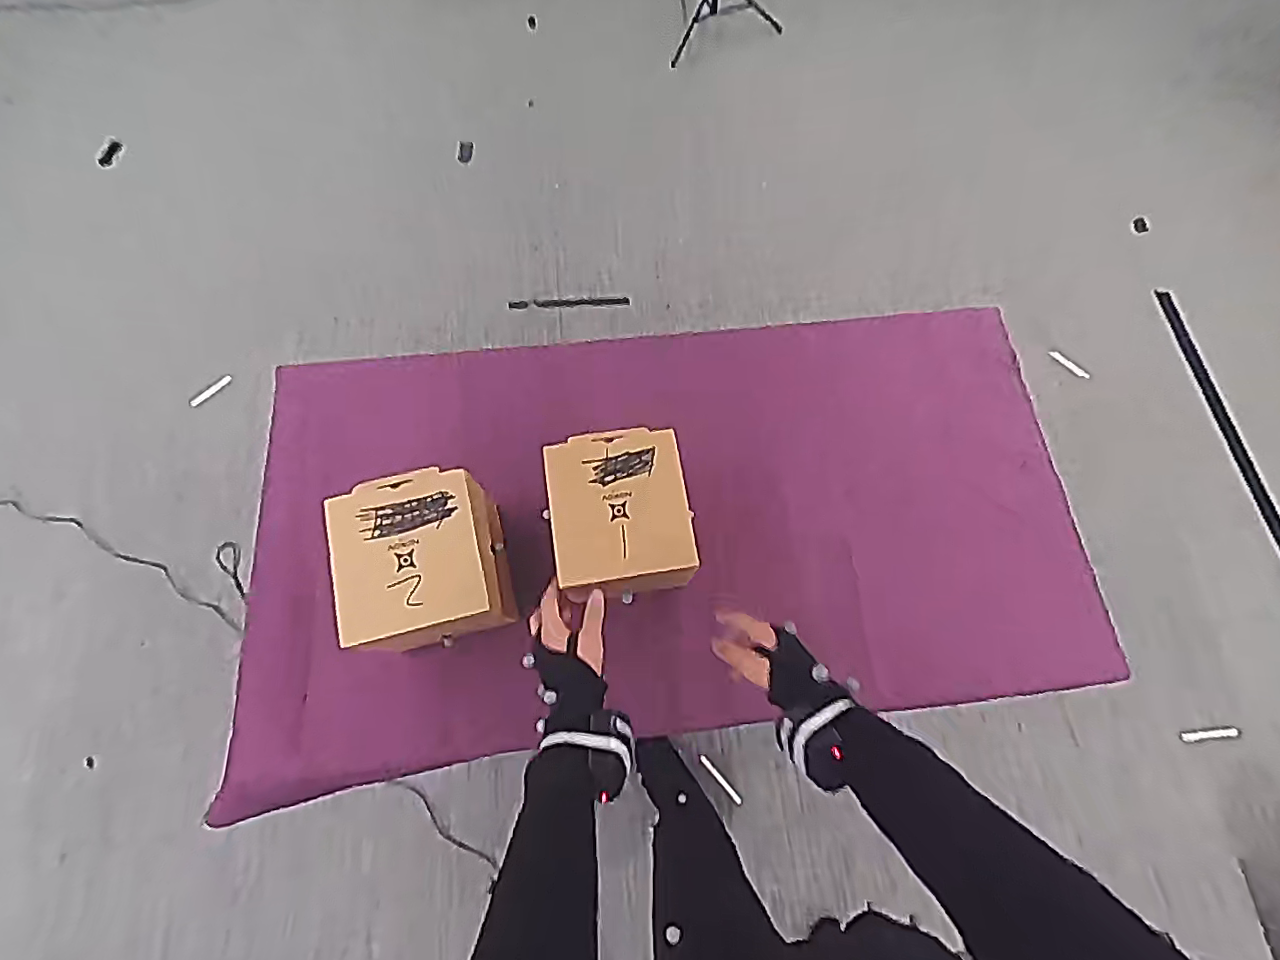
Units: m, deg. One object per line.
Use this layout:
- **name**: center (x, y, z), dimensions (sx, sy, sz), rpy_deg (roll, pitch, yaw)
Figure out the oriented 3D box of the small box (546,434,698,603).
- **small box**: center (-0.026, 0.059, 0.722), dimensions (0.168, 0.176, 0.179), rpy_deg (-9, 72, -3)
